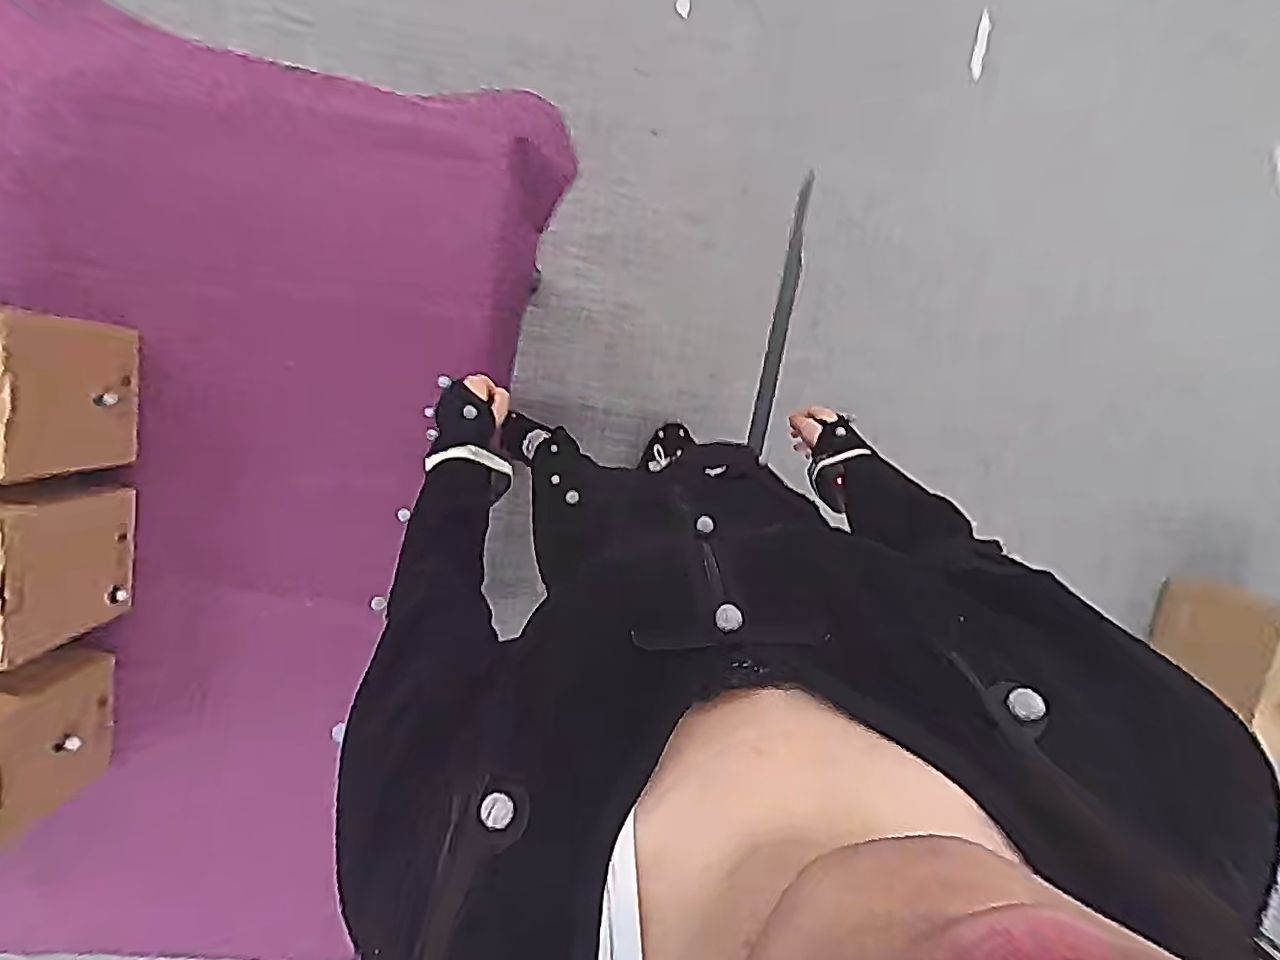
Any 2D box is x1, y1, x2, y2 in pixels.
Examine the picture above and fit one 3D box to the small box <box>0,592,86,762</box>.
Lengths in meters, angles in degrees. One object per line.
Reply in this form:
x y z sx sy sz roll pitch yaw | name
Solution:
-0.784 0.226 0.594 0.179 0.176 0.168 16 93 -12 | small box
